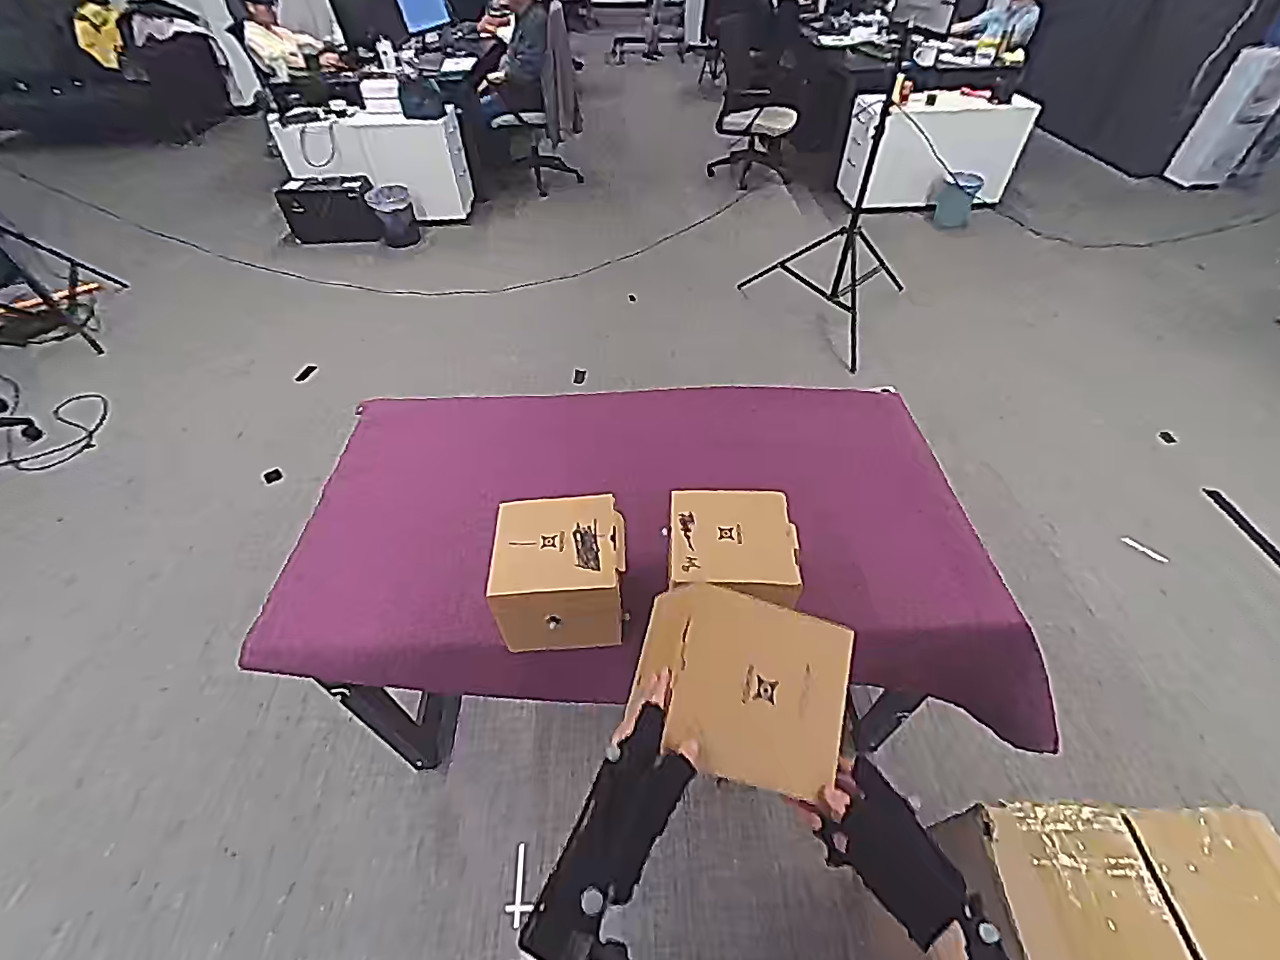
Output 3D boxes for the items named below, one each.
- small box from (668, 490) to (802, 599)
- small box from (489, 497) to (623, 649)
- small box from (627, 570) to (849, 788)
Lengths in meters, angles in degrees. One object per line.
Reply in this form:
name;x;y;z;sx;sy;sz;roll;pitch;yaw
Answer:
small box;0.135;0.135;0.836;0.179;0.176;0.168;2;46;2
small box;-0.116;0.145;0.830;0.179;0.176;0.168;-4;46;-1
small box;0.096;0.210;0.590;0.179;0.176;0.168;18;70;-7
